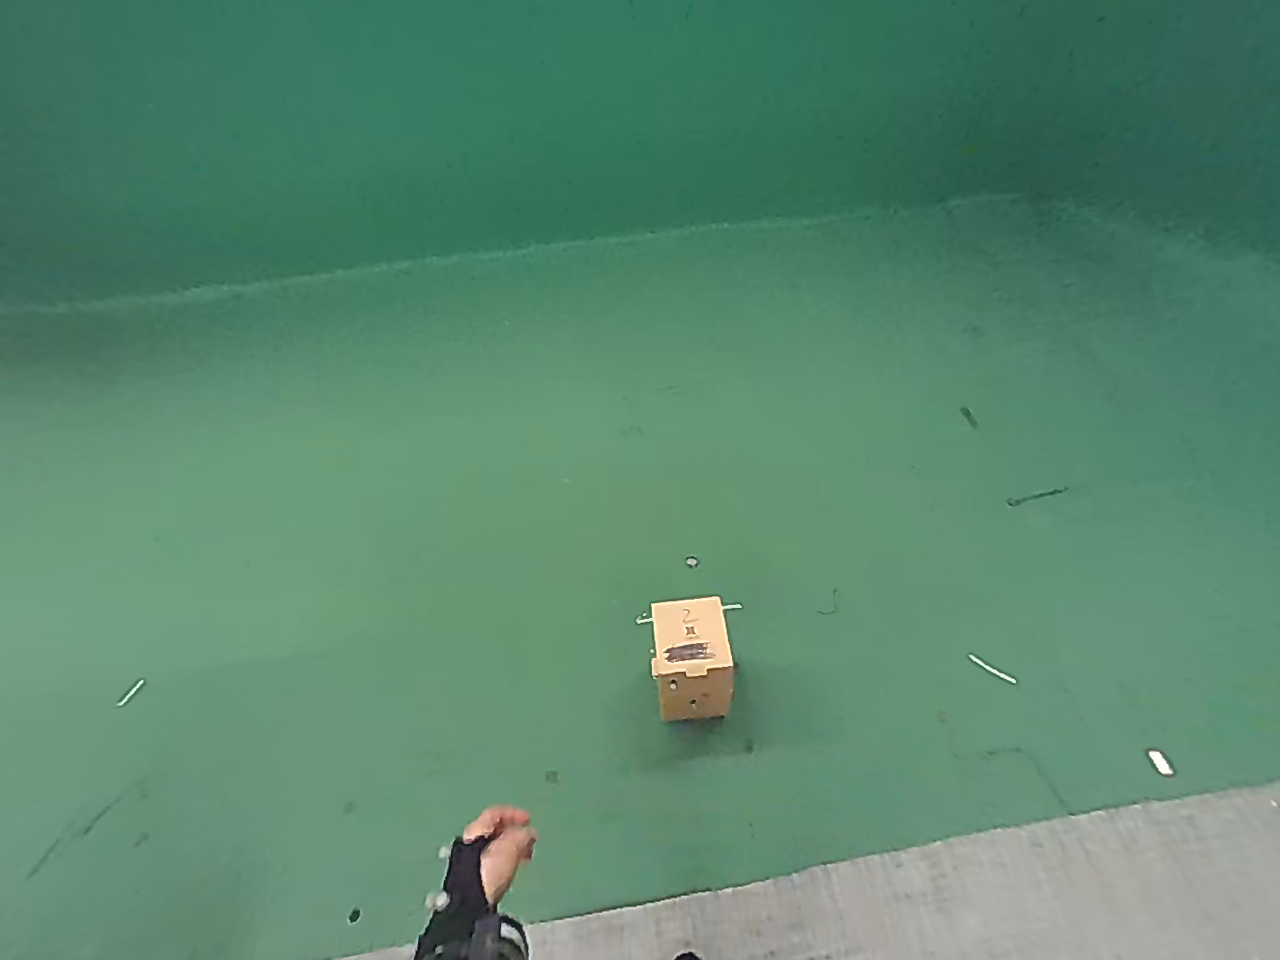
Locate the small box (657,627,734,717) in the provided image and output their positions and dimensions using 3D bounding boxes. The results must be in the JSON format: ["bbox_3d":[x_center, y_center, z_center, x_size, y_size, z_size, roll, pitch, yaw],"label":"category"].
[{"bbox_3d":[0.138,0.499,1.402,0.179,0.176,0.168,-6,49,0],"label":"small box"}]
